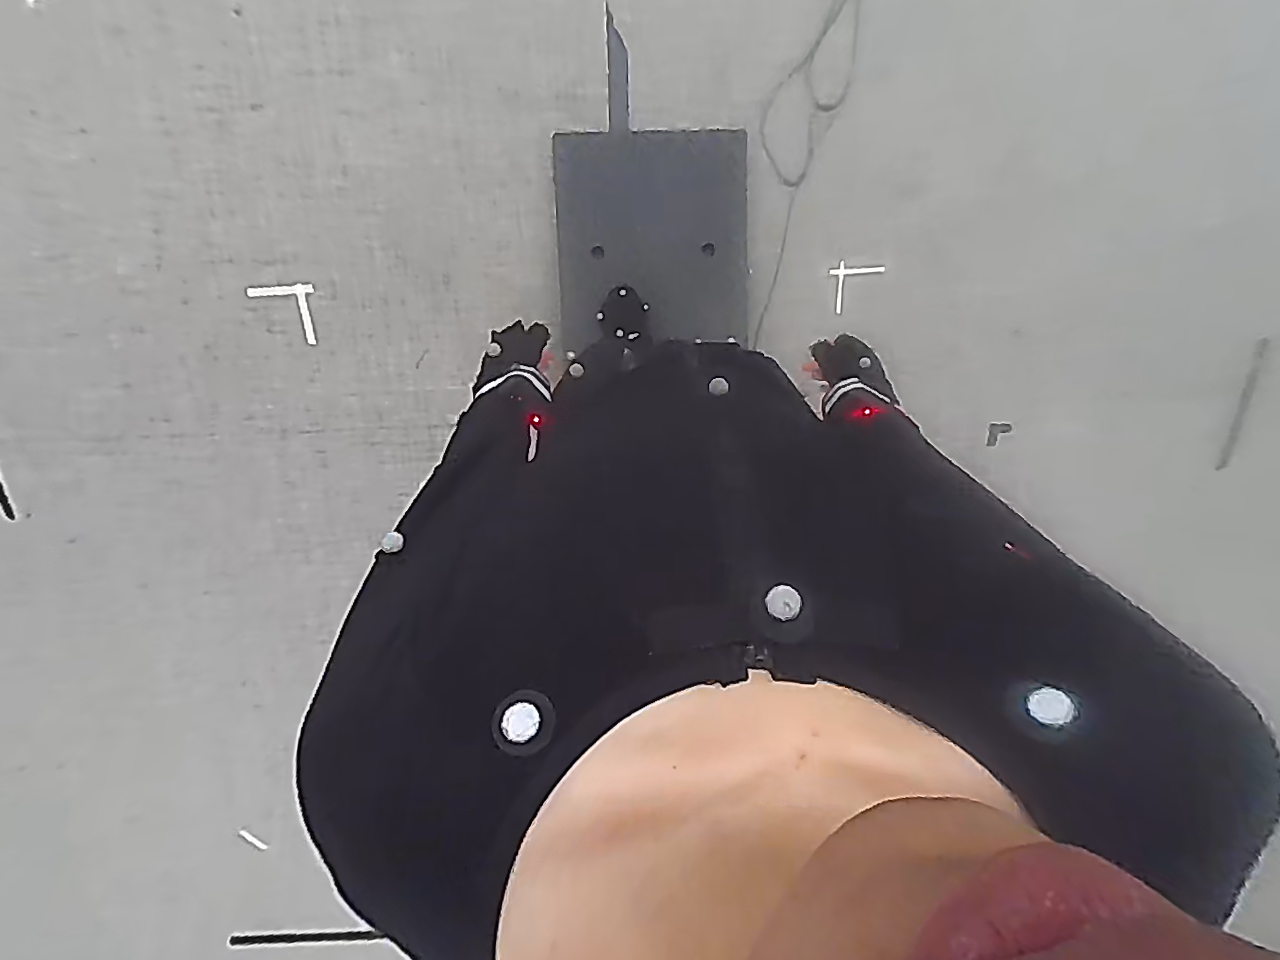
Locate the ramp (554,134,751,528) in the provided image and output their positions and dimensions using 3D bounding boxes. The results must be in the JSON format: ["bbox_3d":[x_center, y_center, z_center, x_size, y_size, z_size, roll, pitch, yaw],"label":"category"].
[{"bbox_3d":[0.042,-0.371,1.426,0.509,0.206,0.991,-4,107,1],"label":"ramp"}]
